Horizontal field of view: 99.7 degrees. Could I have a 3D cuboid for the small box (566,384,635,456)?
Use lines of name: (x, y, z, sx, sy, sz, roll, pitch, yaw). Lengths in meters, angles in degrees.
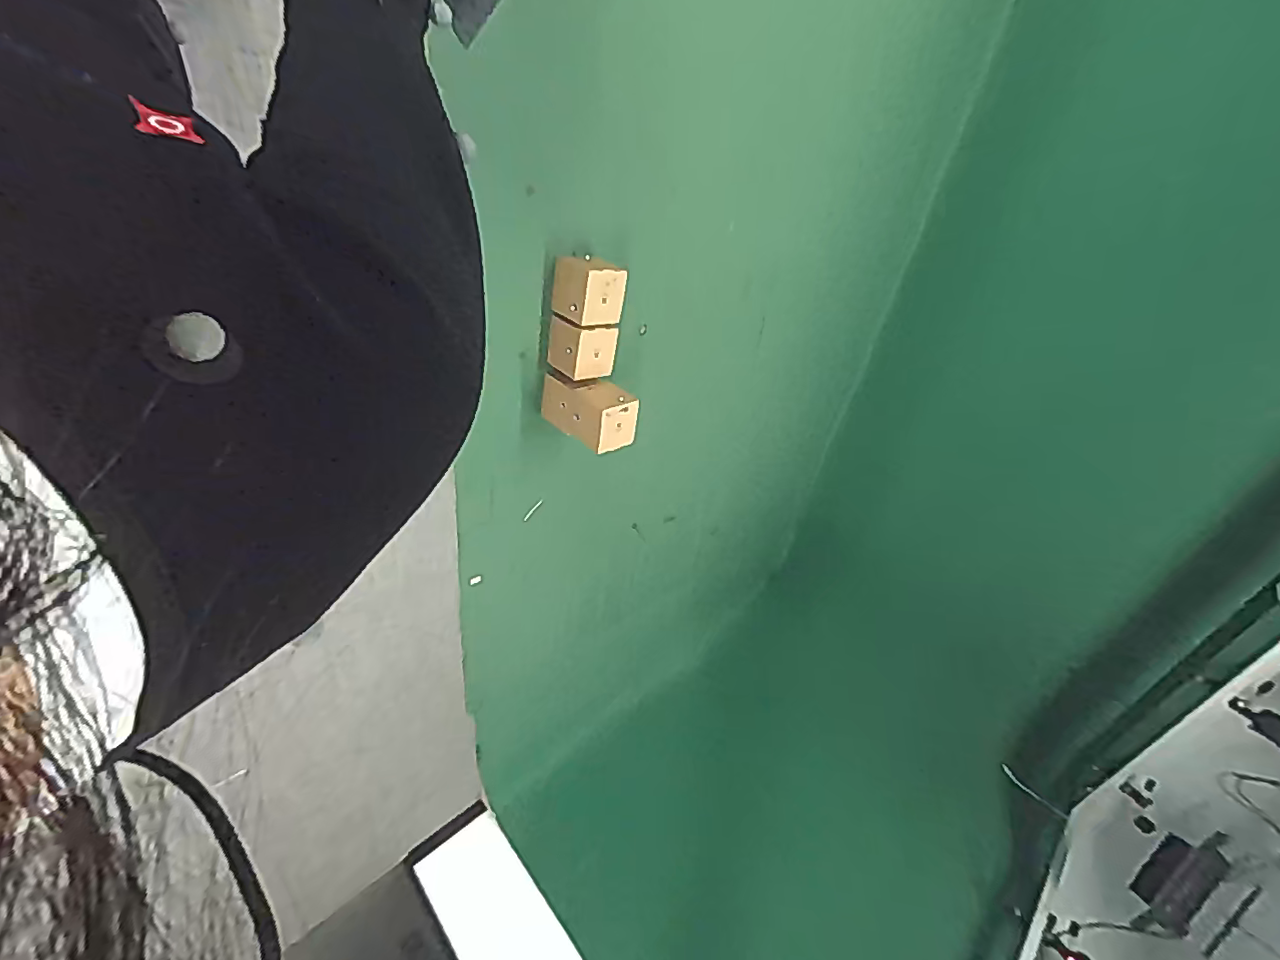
small box: (-0.142, -0.215, 1.890, 0.168, 0.176, 0.179, -22, 136, -39)
